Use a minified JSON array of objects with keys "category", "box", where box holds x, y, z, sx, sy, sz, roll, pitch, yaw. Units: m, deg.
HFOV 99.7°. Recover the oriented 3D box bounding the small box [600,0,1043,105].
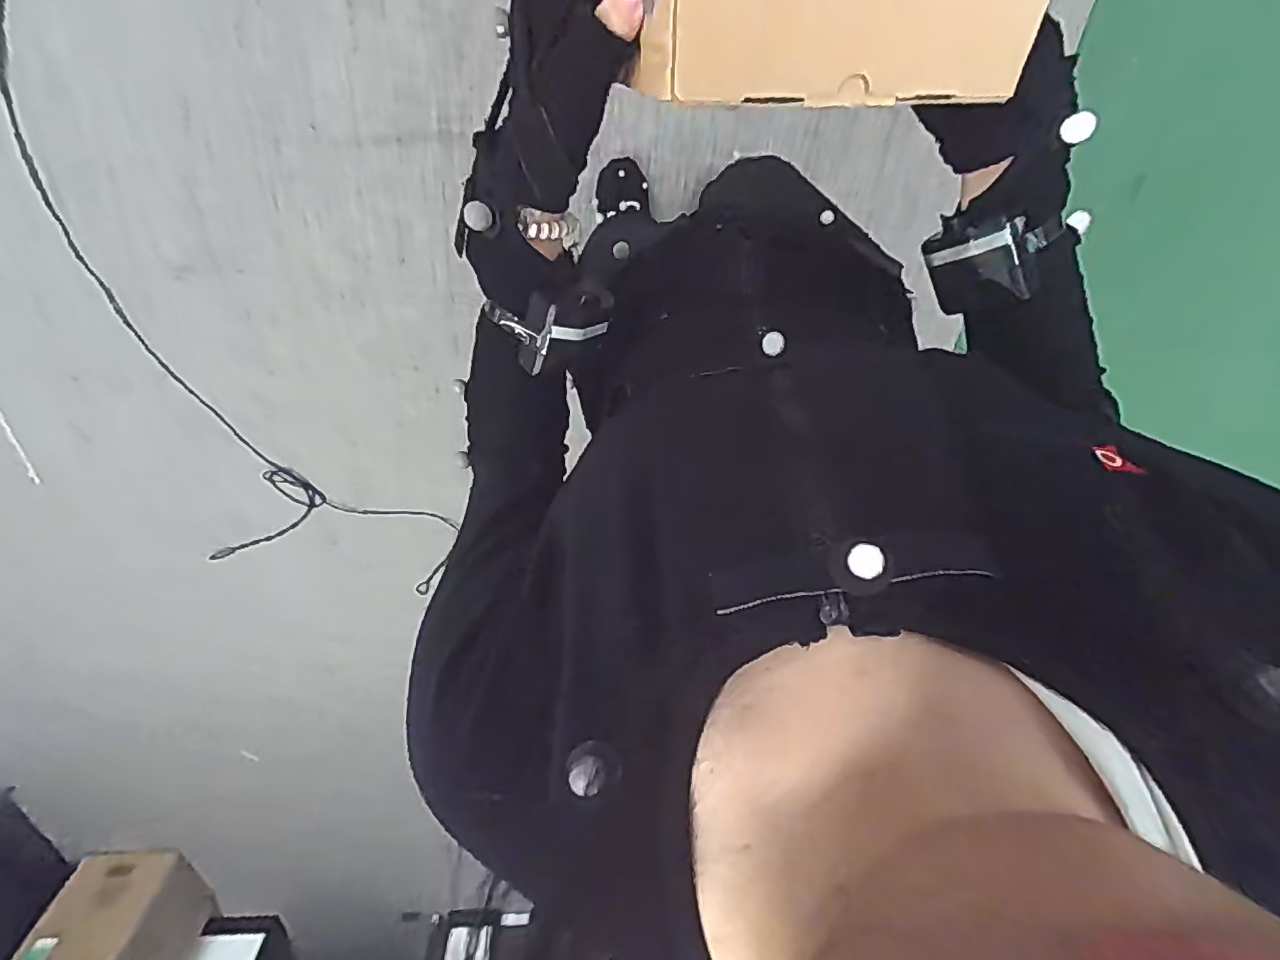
[{"category":"small box","box":[0.074,-0.284,0.241,0.168,0.176,0.179,-9,133,-10]}]
